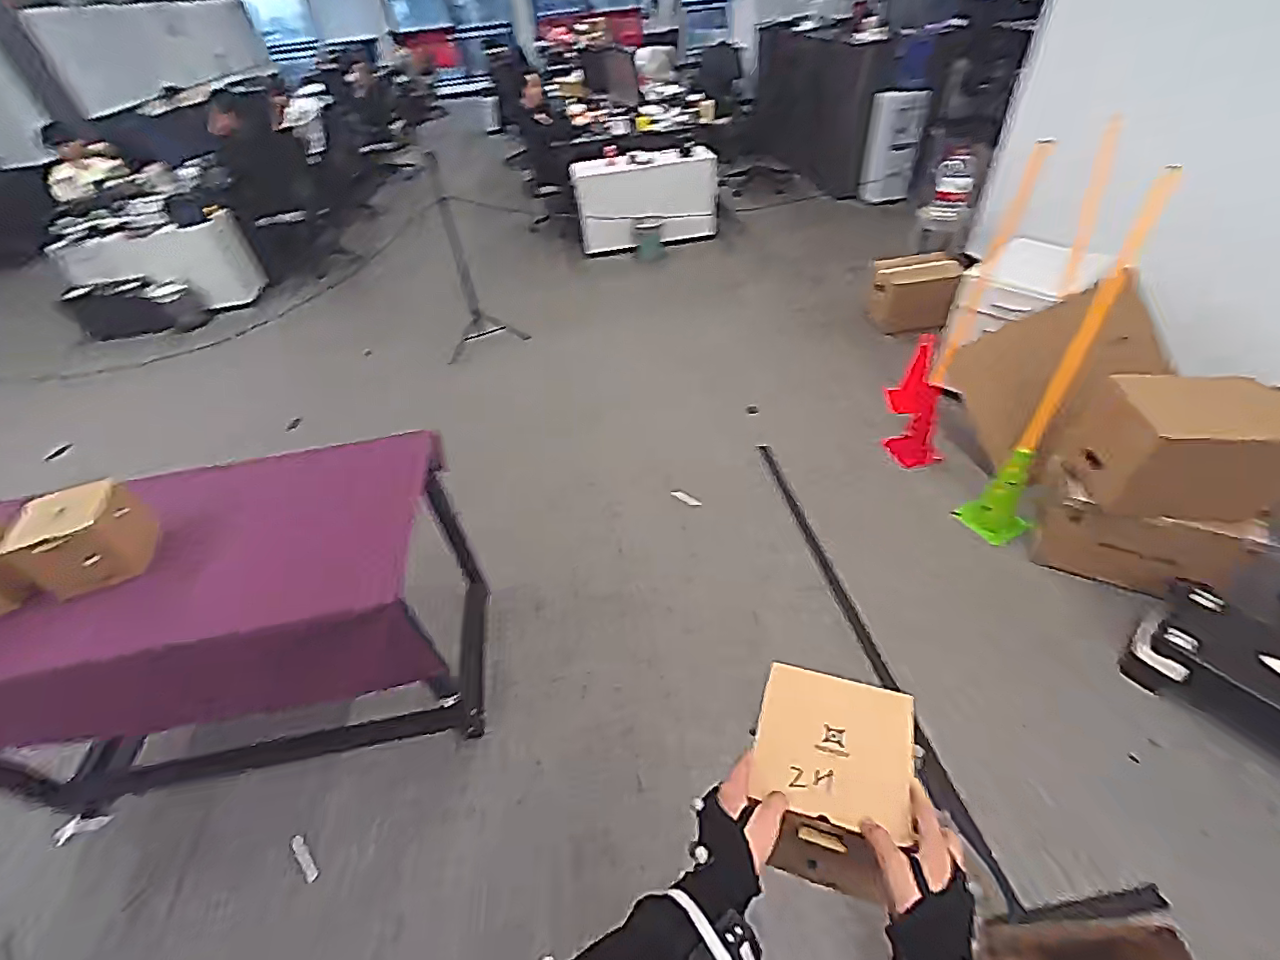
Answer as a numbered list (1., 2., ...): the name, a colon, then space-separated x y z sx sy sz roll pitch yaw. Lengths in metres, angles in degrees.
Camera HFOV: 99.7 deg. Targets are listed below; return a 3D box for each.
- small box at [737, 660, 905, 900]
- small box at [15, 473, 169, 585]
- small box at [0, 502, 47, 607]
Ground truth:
1. small box: 0.218 0.358 0.658 0.168 0.176 0.179 8 40 21
2. small box: -1.237 0.118 1.241 0.168 0.176 0.179 -18 44 -13
3. small box: -1.476 0.183 1.196 0.168 0.176 0.179 -17 43 -12
